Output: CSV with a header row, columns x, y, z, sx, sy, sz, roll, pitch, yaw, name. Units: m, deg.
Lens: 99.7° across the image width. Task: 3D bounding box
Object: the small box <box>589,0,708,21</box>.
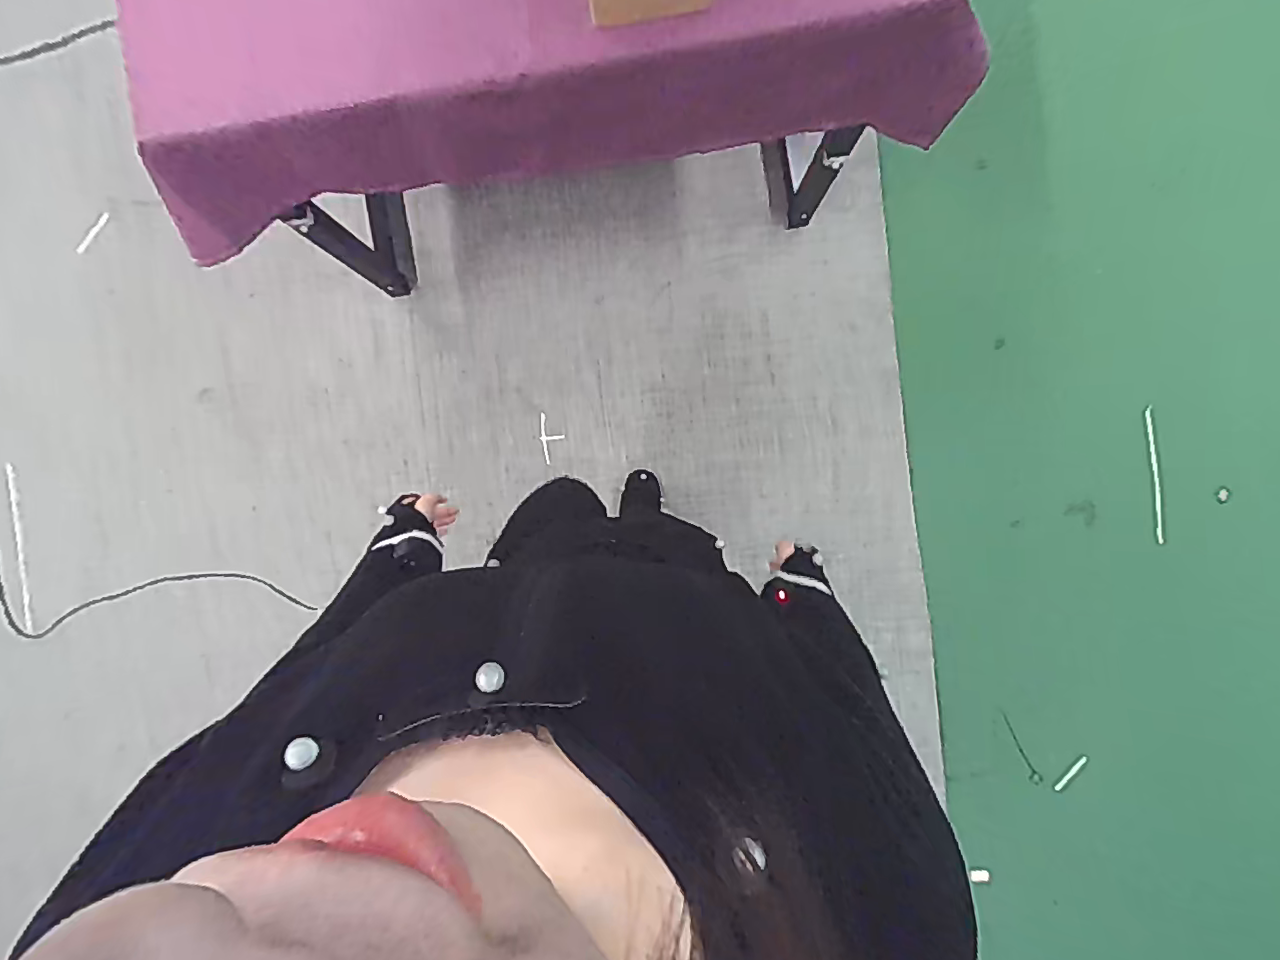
x,y,z,sx,sy,sz,roll,pitch,yaw,name
0.006,-0.736,0.688,0.179,0.176,0.168,-7,90,1,small box
